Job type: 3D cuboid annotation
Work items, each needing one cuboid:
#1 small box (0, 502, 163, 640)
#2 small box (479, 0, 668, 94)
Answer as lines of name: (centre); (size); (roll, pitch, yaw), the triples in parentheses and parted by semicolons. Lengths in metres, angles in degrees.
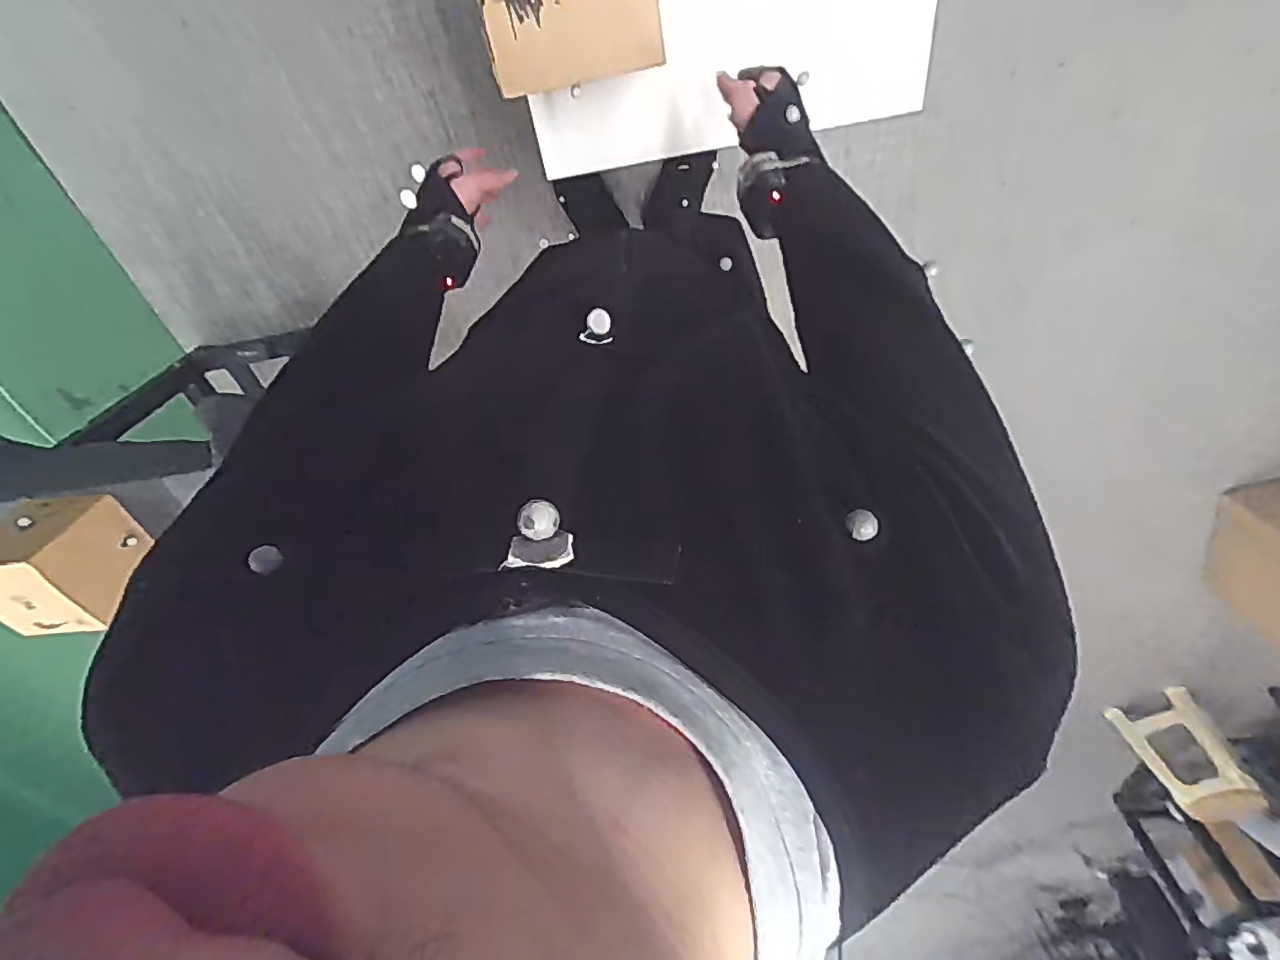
small box: (-1.002, 0.150, 0.933); (0.168, 0.176, 0.179); (-5, 129, 4)
small box: (-0.070, -0.518, 0.561); (0.179, 0.176, 0.168); (-9, 129, 4)
